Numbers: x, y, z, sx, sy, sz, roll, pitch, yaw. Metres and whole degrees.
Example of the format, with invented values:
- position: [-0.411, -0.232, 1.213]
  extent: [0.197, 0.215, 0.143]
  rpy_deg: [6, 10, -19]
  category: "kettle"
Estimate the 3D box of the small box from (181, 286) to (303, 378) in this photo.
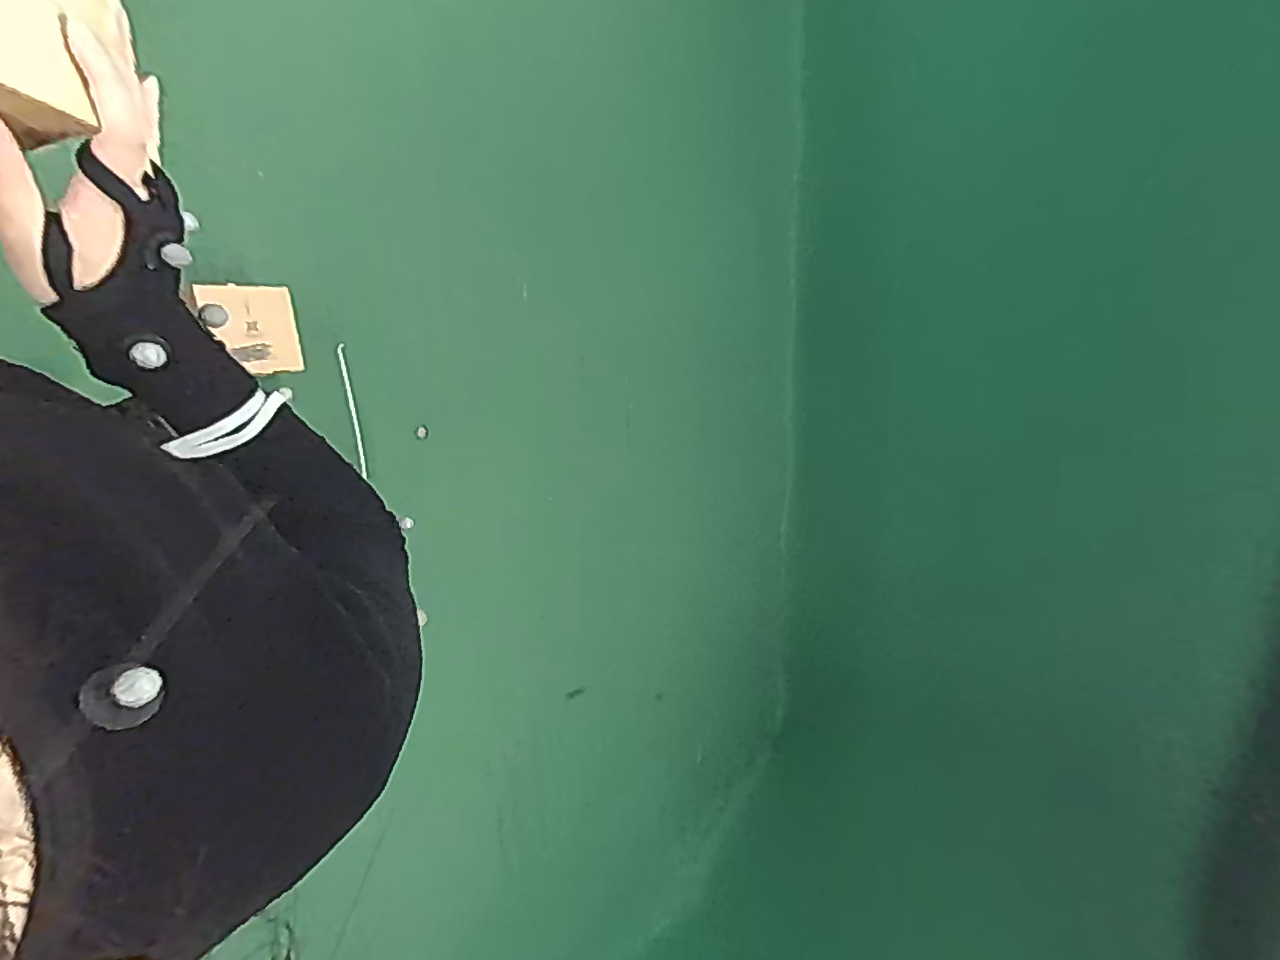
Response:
- position: [-0.857, -0.315, 1.165]
  extent: [0.168, 0.176, 0.179]
  rpy_deg: [-18, 110, -45]
  category: "small box"

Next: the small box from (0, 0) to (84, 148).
- position: [-0.358, -0.249, 0.198]
  extent: [0.168, 0.179, 0.176]
  rpy_deg: [-4, 99, -67]
  category: "small box"
